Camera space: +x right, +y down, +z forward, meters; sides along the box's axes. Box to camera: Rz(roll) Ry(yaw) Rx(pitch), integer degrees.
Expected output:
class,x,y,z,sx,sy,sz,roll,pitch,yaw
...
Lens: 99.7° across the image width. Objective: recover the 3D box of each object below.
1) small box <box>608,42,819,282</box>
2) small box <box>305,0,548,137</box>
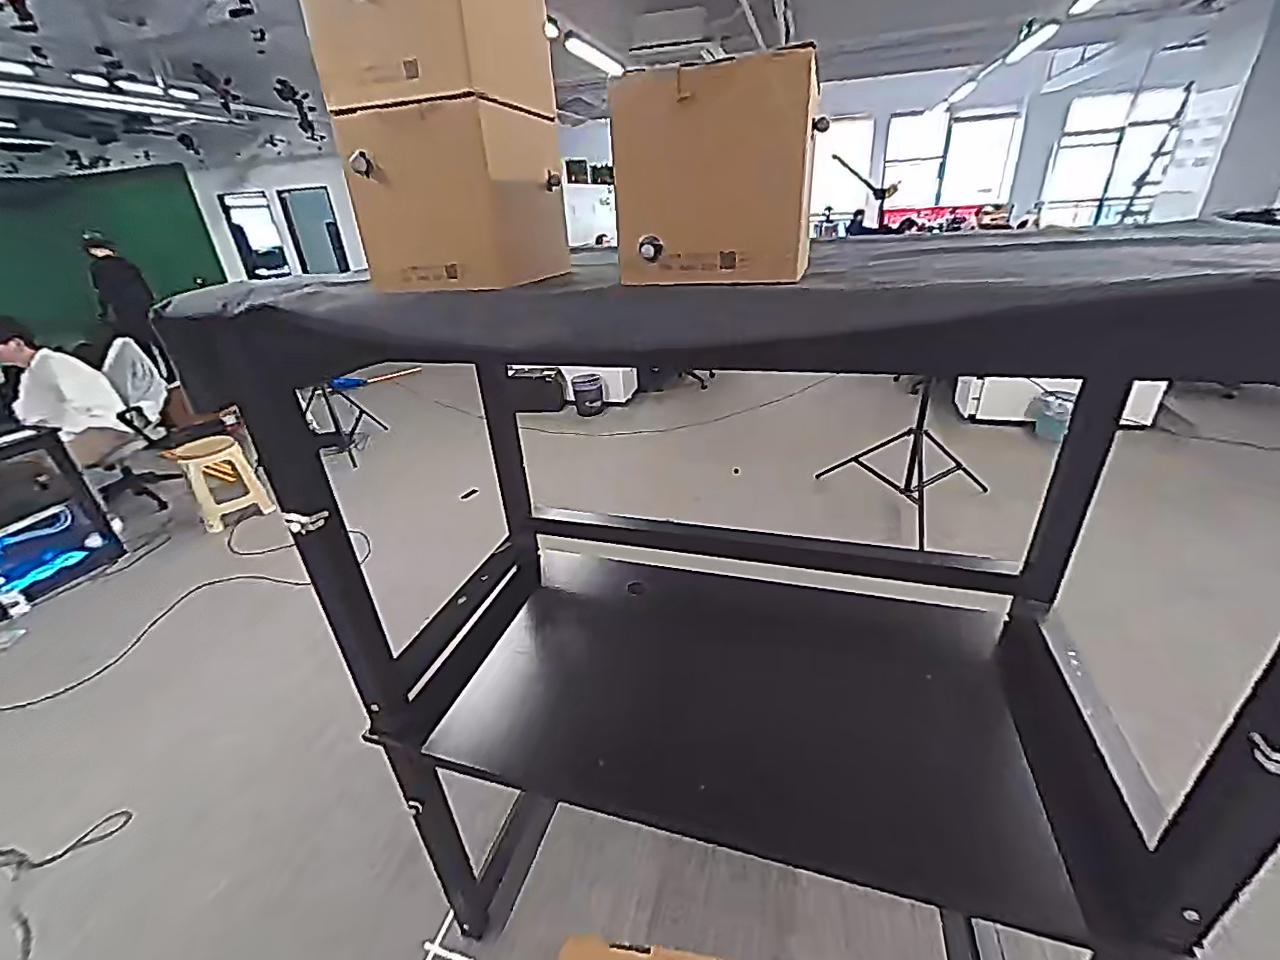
class,x,y,z,sx,sy,sz,roll,pitch,yaw
small box,0.080,-0.288,0.527,0.168,0.176,0.179,6,26,17
small box,-0.203,-0.456,0.536,0.168,0.176,0.179,5,26,16
